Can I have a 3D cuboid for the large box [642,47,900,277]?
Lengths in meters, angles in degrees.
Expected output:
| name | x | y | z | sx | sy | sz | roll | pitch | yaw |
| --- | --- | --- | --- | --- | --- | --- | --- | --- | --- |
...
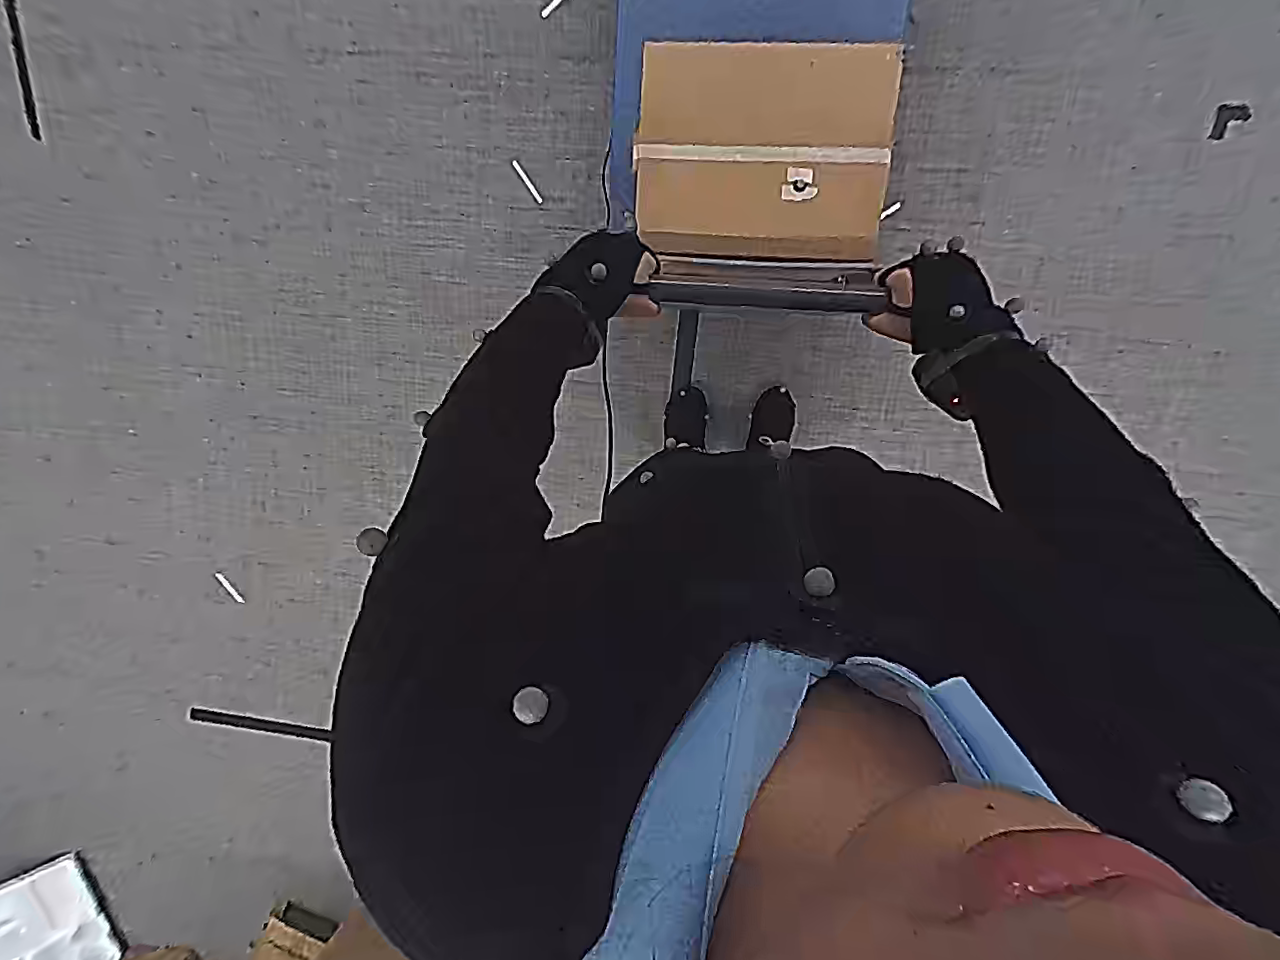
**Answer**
| name | x | y | z | sx | sy | sz | roll | pitch | yaw |
| --- | --- | --- | --- | --- | --- | --- | --- | --- | --- |
| large box | 0.217 | -0.572 | 1.038 | 0.408 | 0.320 | 0.320 | 4 | 105 | 5 |
